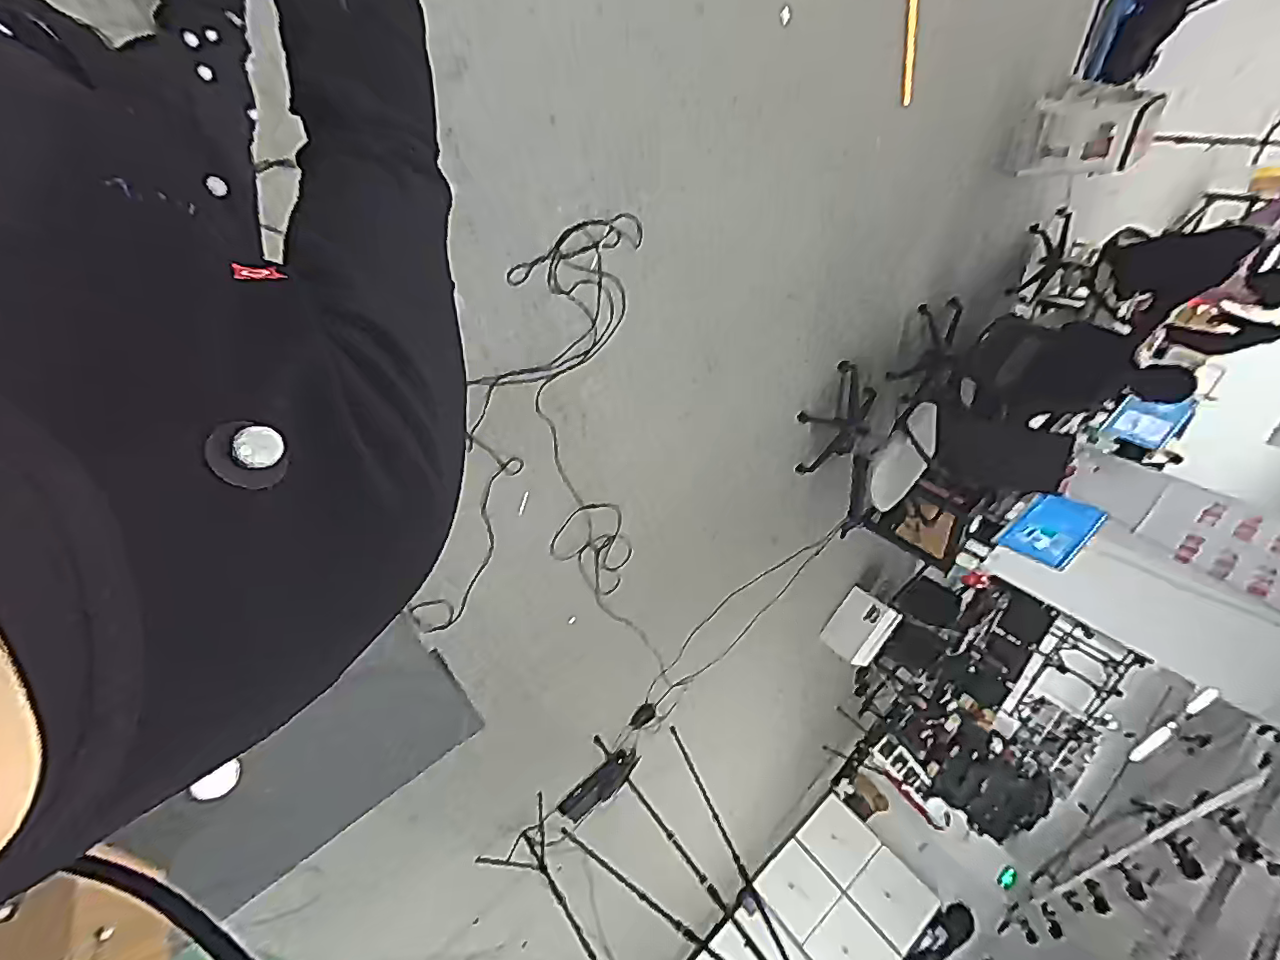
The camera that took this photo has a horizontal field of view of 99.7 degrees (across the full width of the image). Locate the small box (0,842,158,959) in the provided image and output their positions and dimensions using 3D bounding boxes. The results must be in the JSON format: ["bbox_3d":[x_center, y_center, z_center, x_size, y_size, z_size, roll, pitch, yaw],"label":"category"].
[{"bbox_3d":[-0.763,0.614,0.694,0.168,0.176,0.179,-31,135,-24],"label":"small box"}]
